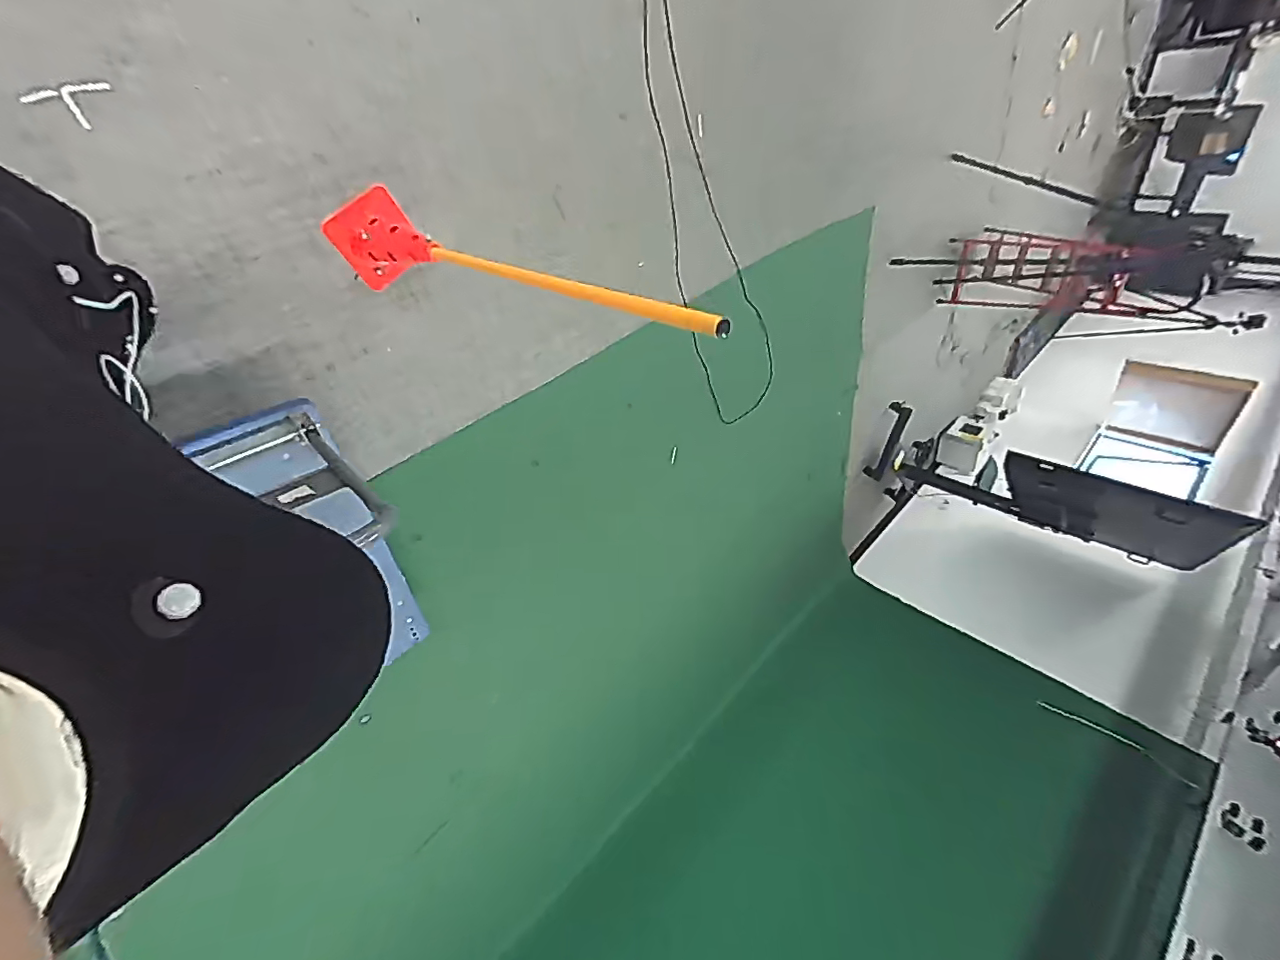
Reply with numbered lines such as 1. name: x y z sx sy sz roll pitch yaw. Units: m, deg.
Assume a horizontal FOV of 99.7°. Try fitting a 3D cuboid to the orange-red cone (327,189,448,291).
1. orange-red cone: -0.564 -0.566 1.312 0.199 0.360 0.198 -48 139 -18
